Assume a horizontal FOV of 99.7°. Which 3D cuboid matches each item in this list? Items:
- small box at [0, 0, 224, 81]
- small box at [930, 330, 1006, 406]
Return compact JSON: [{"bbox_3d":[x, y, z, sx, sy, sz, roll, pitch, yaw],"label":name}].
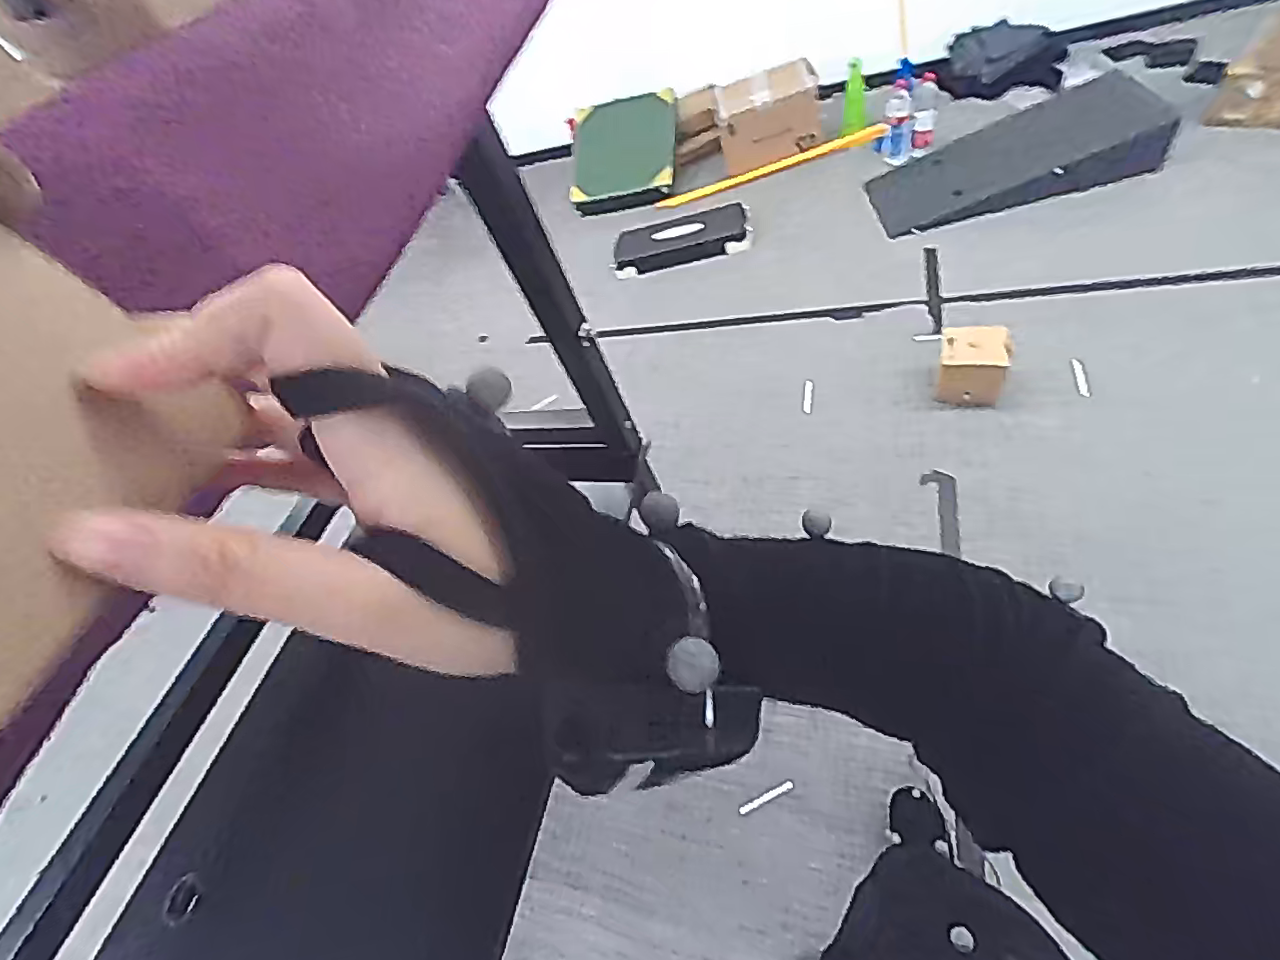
[{"bbox_3d":[-0.364,-0.397,0.346,0.168,0.176,0.179,6,58,26],"label":"small box"},{"bbox_3d":[1.026,-0.349,1.698,0.179,0.176,0.168,7,58,23],"label":"small box"}]
